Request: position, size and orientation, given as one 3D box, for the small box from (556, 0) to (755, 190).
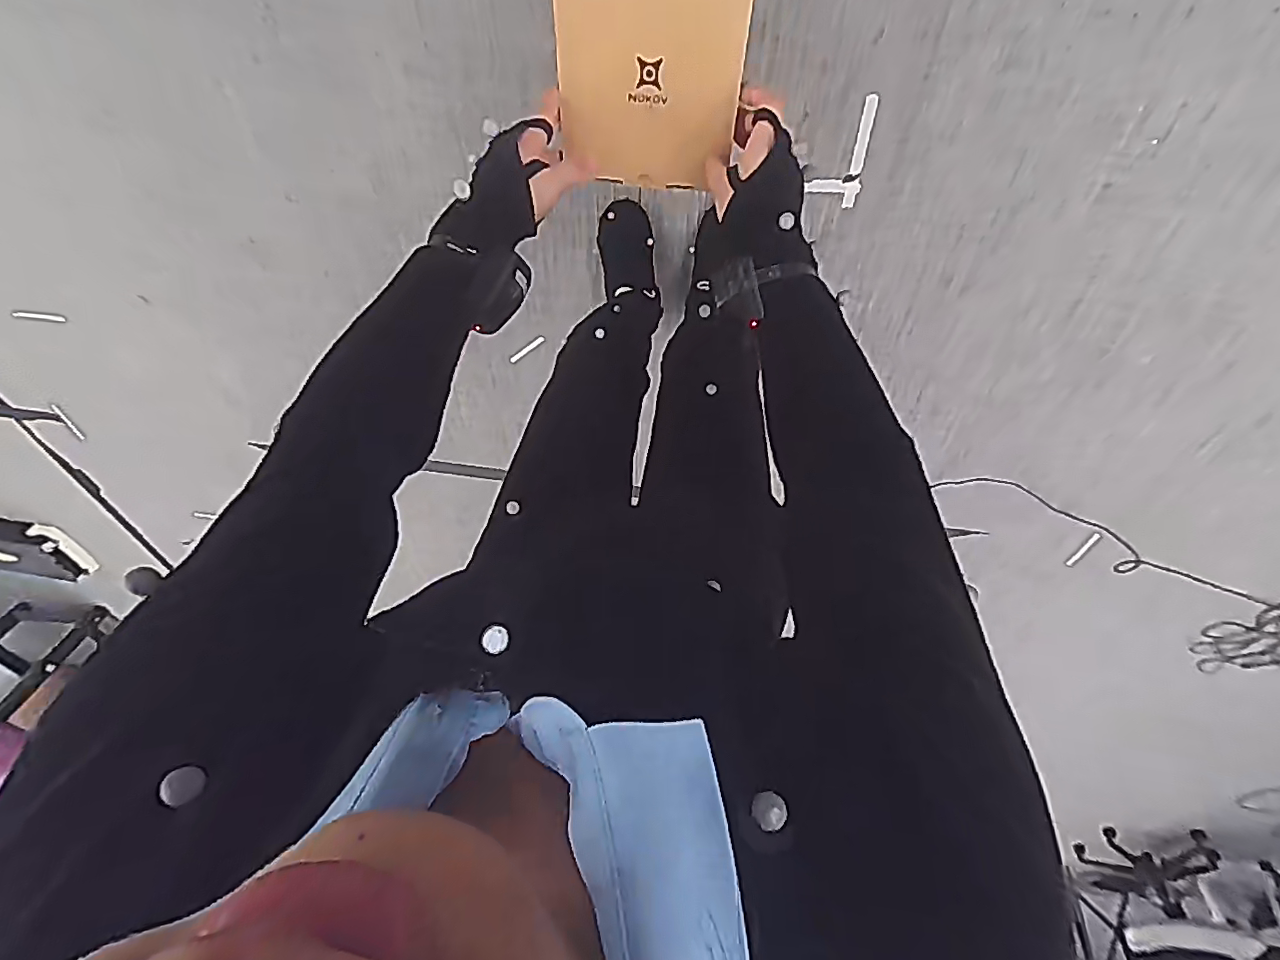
[{"bbox_3d":[0.018,-0.414,0.533,0.168,0.176,0.179,7,137,4],"label":"small box"}]
